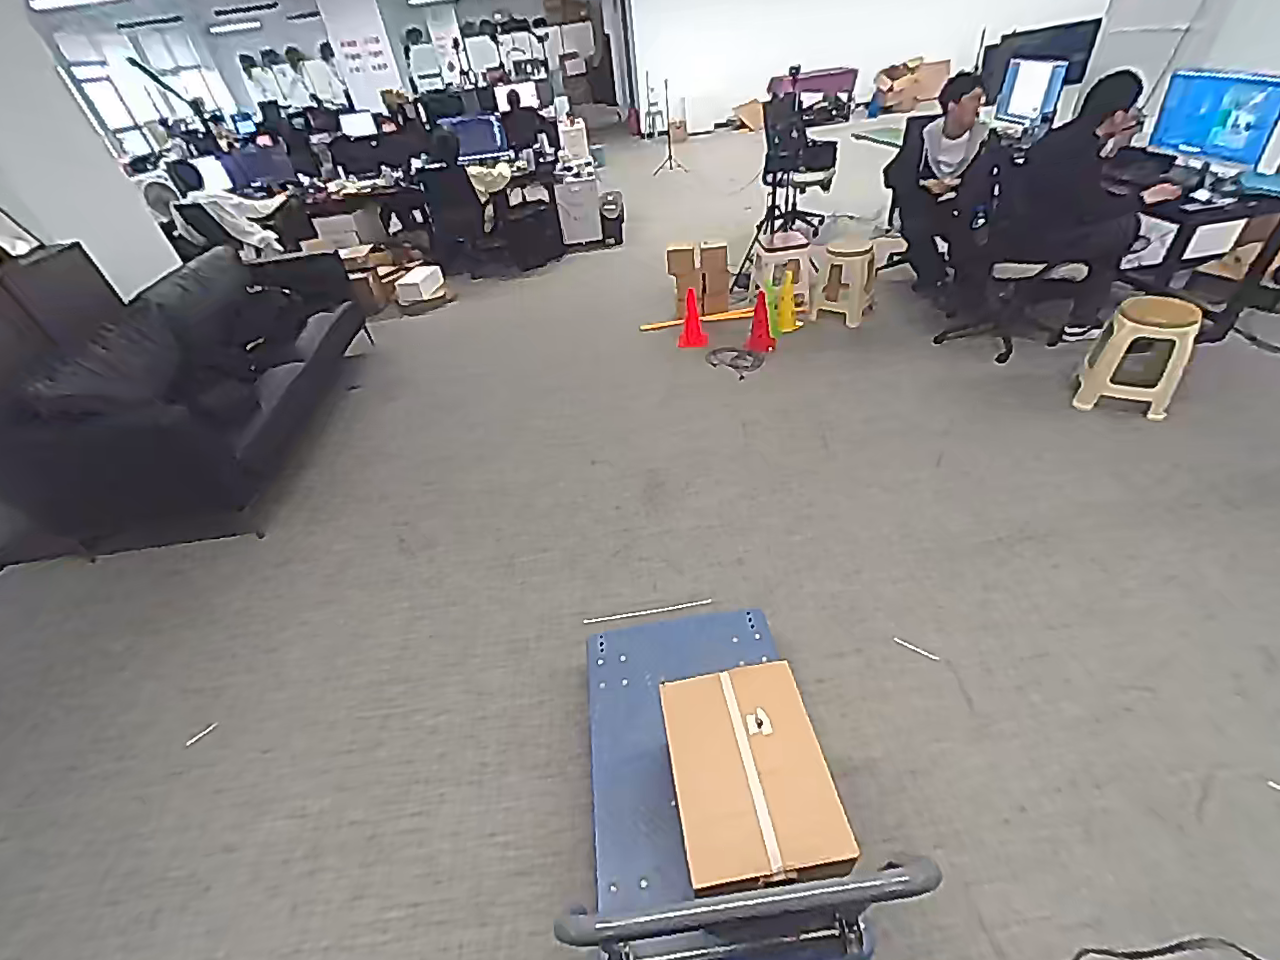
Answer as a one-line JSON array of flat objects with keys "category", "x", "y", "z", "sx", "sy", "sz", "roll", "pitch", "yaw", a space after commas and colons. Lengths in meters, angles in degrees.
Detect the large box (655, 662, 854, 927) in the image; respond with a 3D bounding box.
[{"category": "large box", "x": 0.231, "y": 0.693, "z": 1.216, "sx": 0.320, "sy": 0.320, "sz": 0.408, "roll": -10, "pitch": 40, "yaw": -2}]
